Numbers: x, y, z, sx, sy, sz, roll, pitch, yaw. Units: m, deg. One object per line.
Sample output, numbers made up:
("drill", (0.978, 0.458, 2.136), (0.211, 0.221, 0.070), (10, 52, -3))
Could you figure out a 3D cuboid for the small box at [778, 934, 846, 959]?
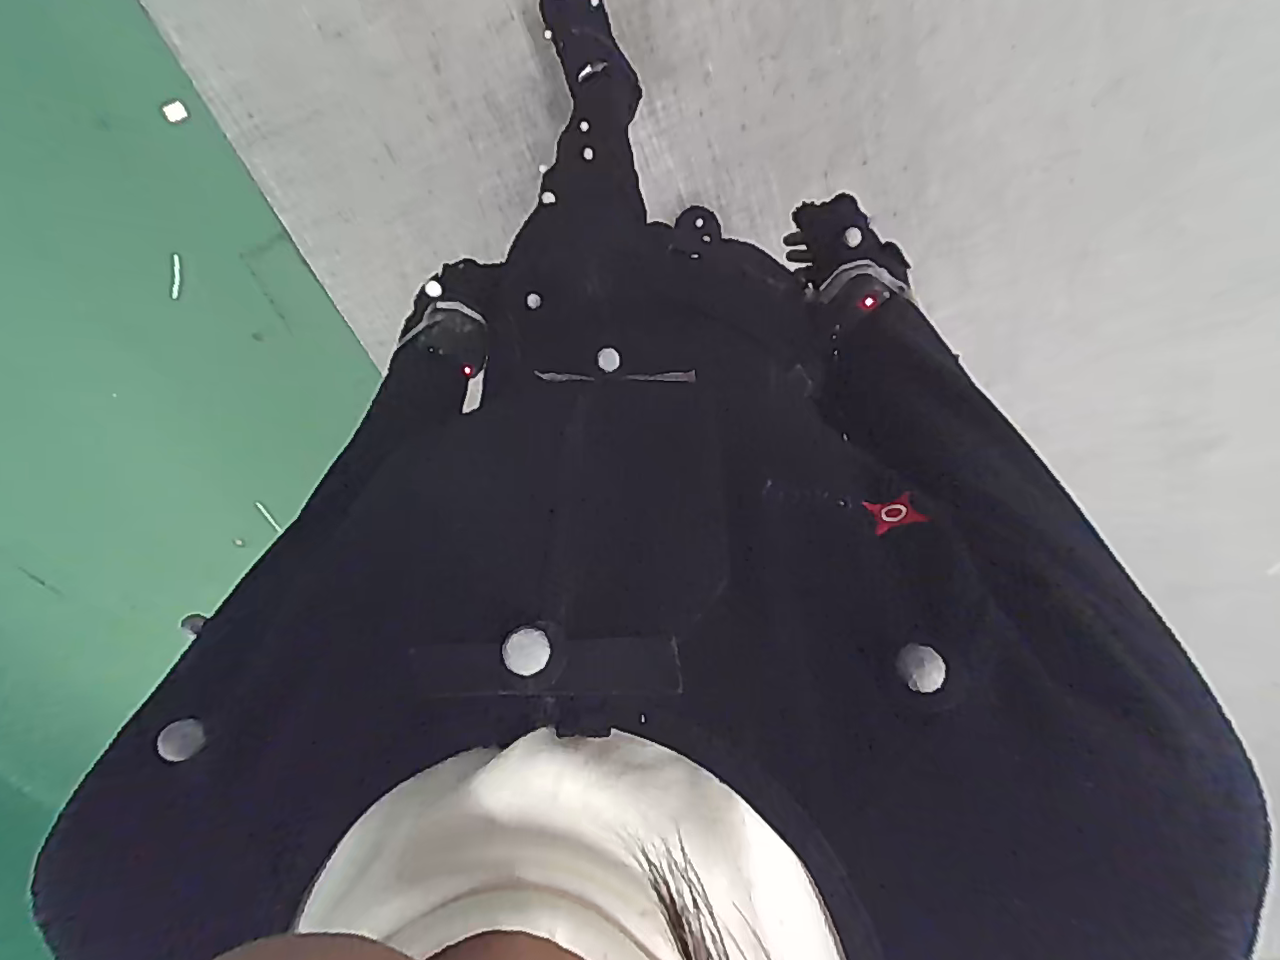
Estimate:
("small box", (0.485, 1.380, 1.482), (0.179, 0.176, 0.168), (-15, 121, 13))
